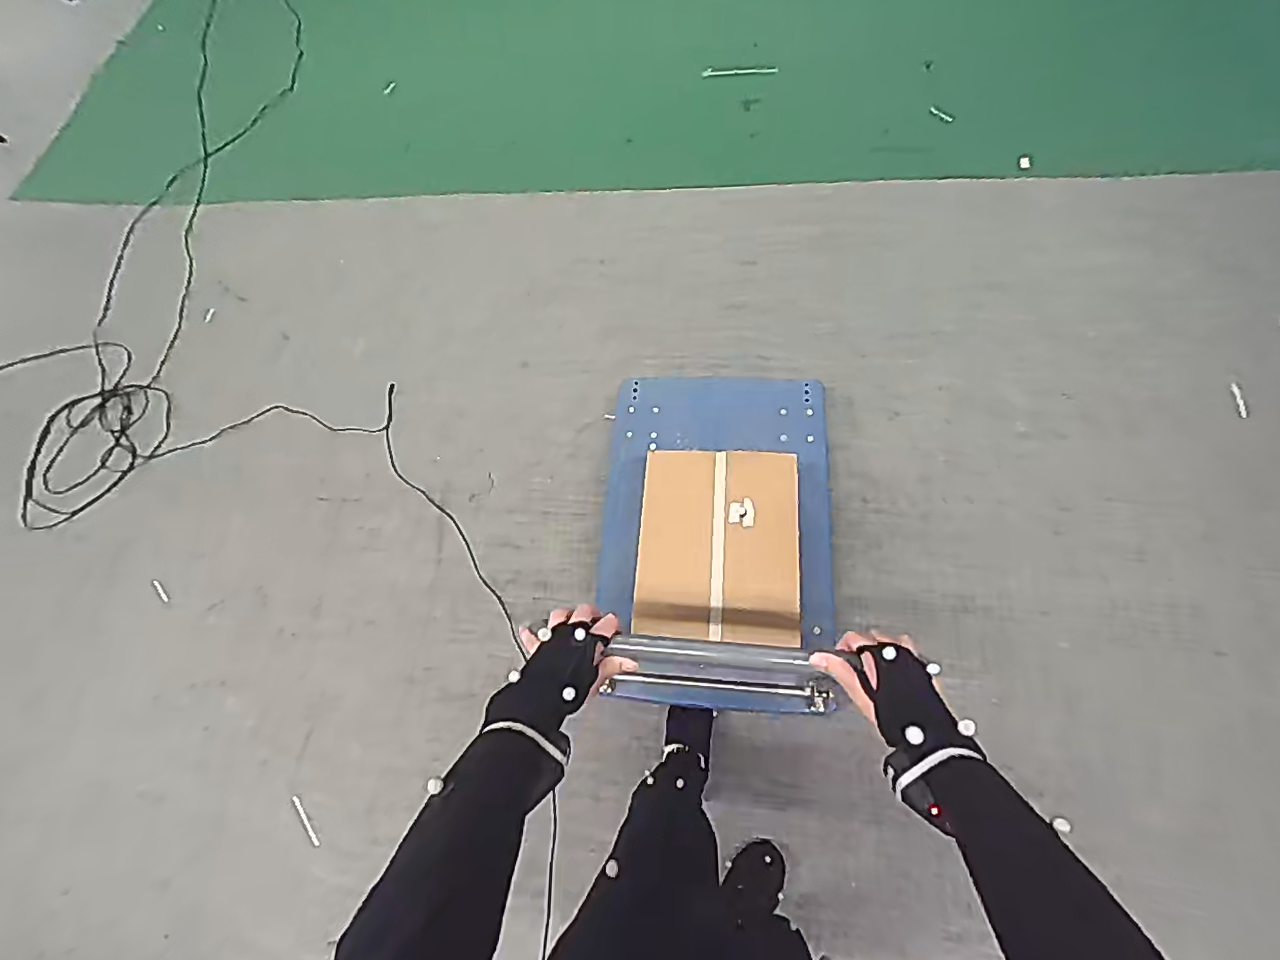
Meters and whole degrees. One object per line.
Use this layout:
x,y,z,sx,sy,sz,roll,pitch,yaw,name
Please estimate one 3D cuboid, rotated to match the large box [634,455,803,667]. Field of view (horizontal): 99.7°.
0.172,0.190,1.200,0.320,0.320,0.408,2,67,8,large box
